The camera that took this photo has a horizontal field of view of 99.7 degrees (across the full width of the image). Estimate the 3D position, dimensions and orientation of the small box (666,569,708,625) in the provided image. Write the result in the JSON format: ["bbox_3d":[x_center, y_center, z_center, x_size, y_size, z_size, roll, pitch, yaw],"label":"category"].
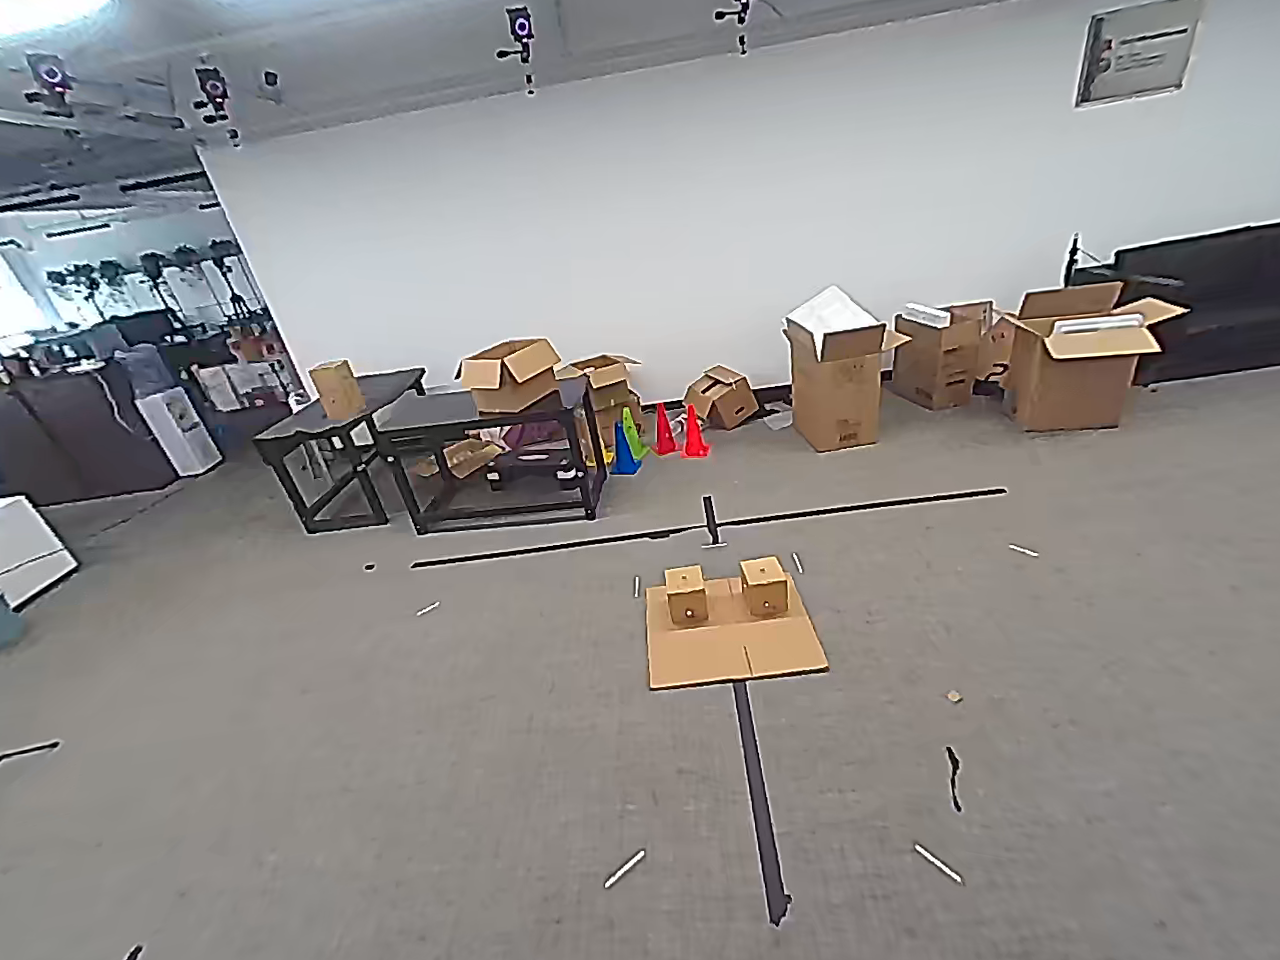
[{"bbox_3d":[0.210,0.525,2.426,0.168,0.176,0.179,-9,27,3],"label":"small box"}]

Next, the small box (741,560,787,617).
[{"bbox_3d":[0.551,0.484,2.406,0.168,0.176,0.179,-10,27,0],"label":"small box"}]
